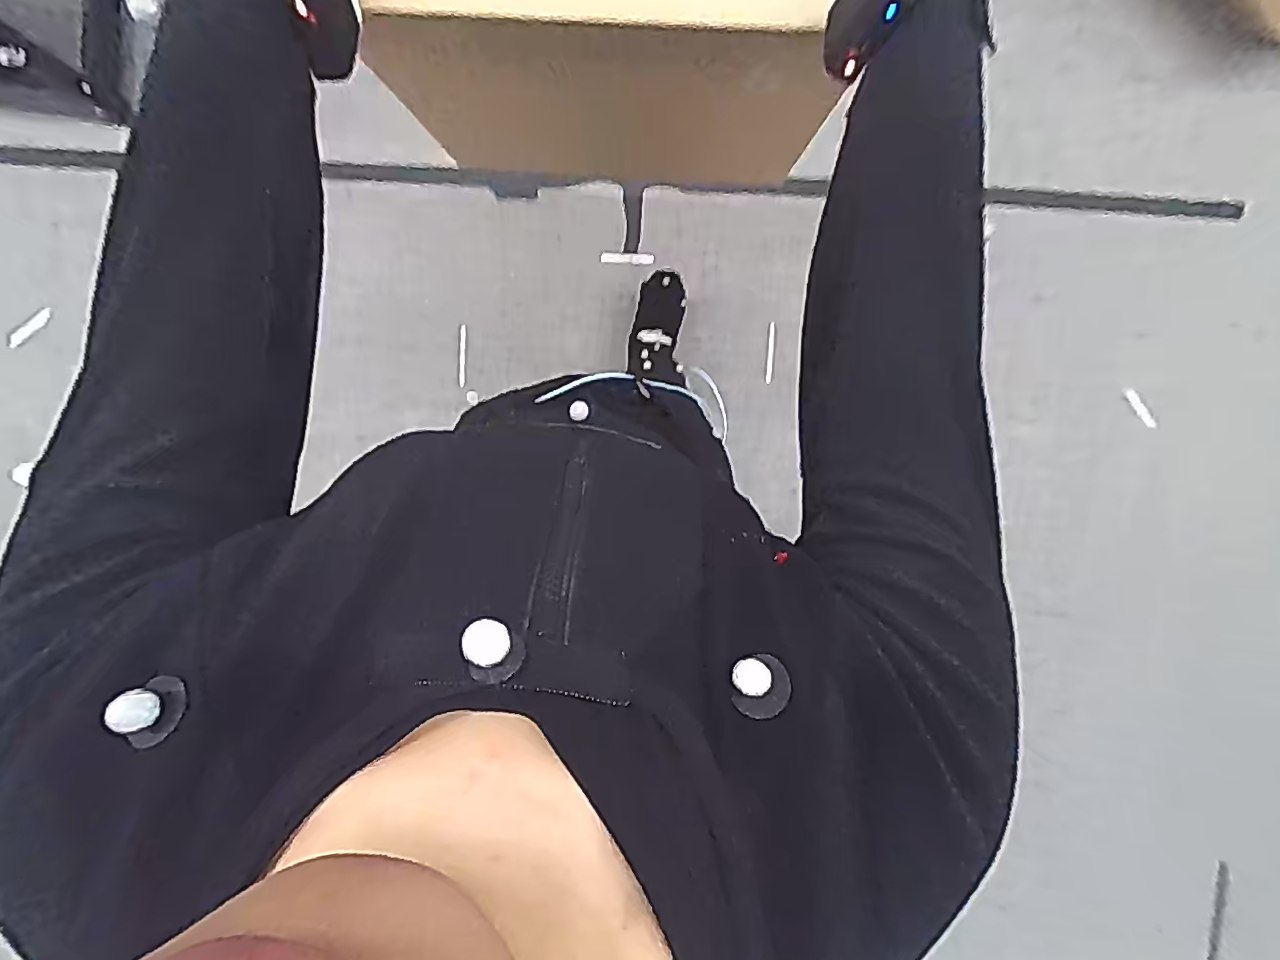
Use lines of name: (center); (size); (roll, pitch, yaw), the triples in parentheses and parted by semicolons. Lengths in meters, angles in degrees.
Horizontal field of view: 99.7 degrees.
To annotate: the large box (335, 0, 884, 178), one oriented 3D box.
large box: (-0.019, -0.507, 0.509); (0.408, 0.320, 0.320); (3, 102, 0)
